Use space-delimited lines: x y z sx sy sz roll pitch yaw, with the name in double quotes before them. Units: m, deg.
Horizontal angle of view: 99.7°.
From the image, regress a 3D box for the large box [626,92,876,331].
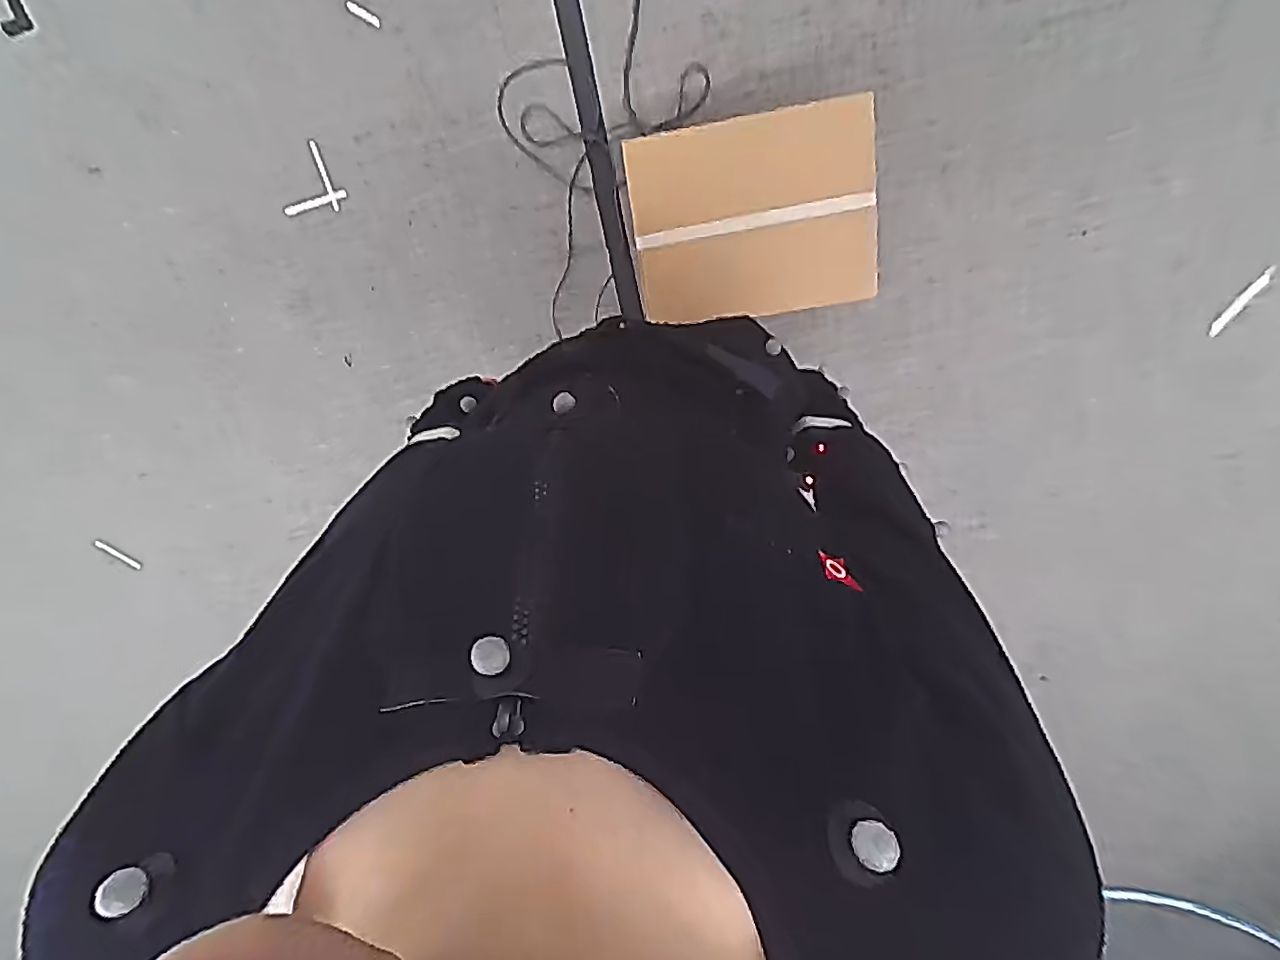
"large box" 0.202 -0.493 1.062 0.408 0.320 0.320 -8 110 6
